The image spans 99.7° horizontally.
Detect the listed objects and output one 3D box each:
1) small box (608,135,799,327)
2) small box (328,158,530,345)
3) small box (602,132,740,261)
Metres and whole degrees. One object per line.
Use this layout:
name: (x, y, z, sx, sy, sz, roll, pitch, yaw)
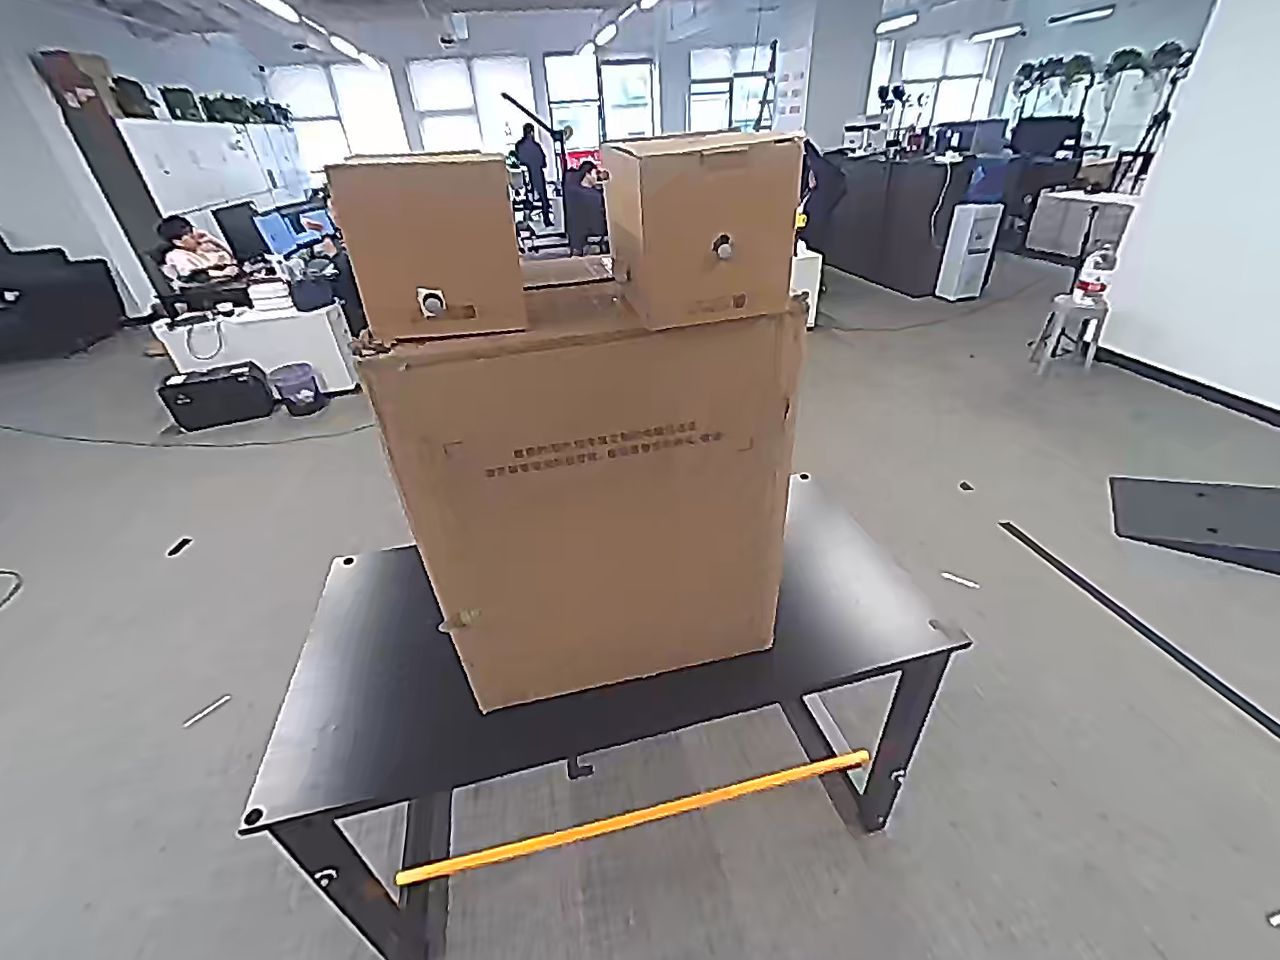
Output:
small box: (0.064, -0.284, 0.621, 0.168, 0.176, 0.179, -11, 36, -8)
small box: (-0.222, -0.264, 0.616, 0.168, 0.176, 0.179, -9, 34, -10)
small box: (0.043, -0.417, 0.818, 0.168, 0.176, 0.179, -11, 32, -9)
